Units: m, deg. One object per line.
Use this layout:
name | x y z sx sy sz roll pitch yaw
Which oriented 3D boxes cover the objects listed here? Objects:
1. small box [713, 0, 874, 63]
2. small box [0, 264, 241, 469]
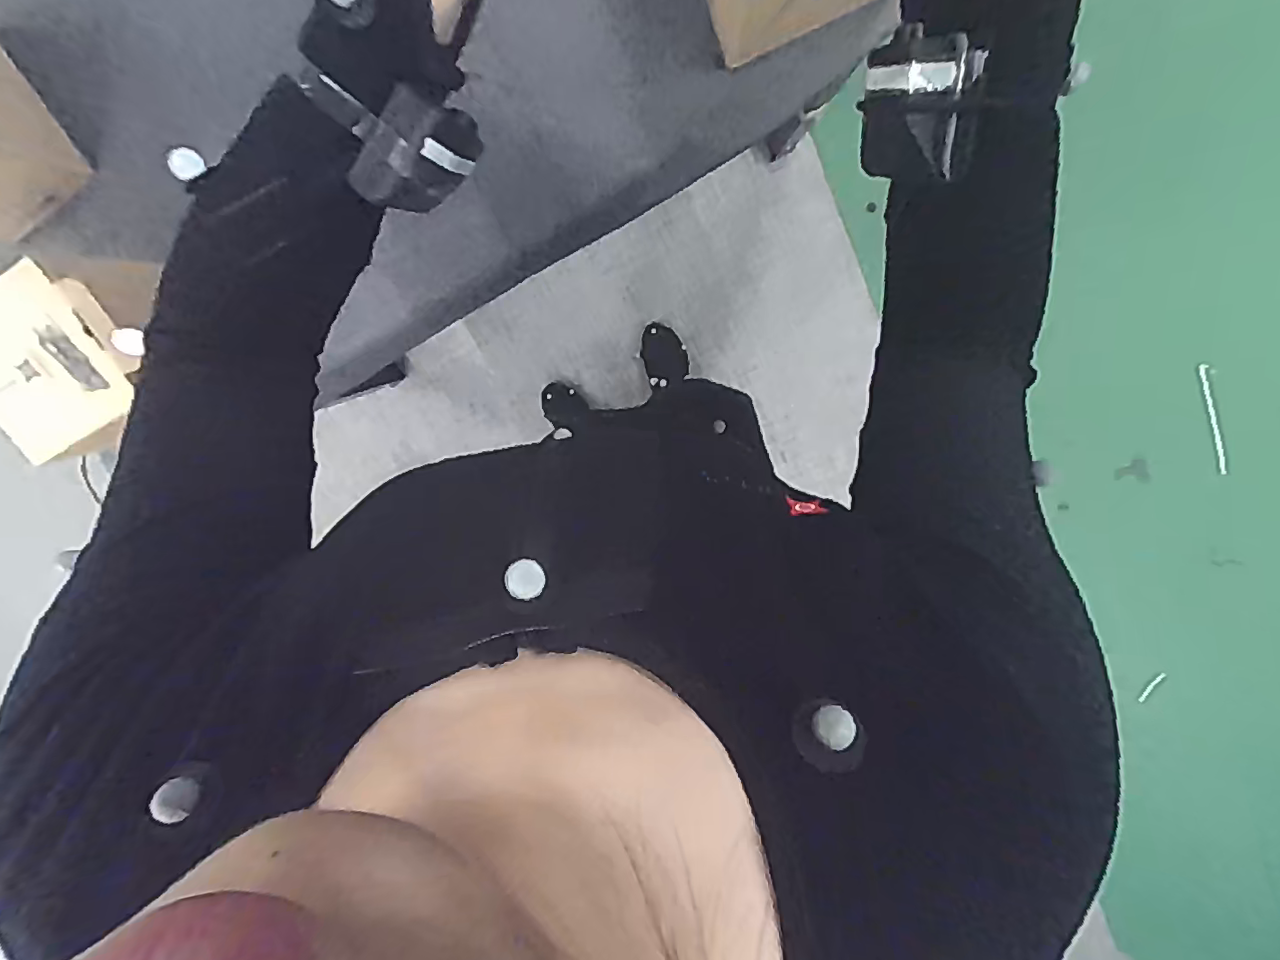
small box | 0.138 -0.515 0.467 0.179 0.176 0.168 -20 102 11
small box | -0.633 -0.141 0.649 0.179 0.176 0.168 -25 106 12
